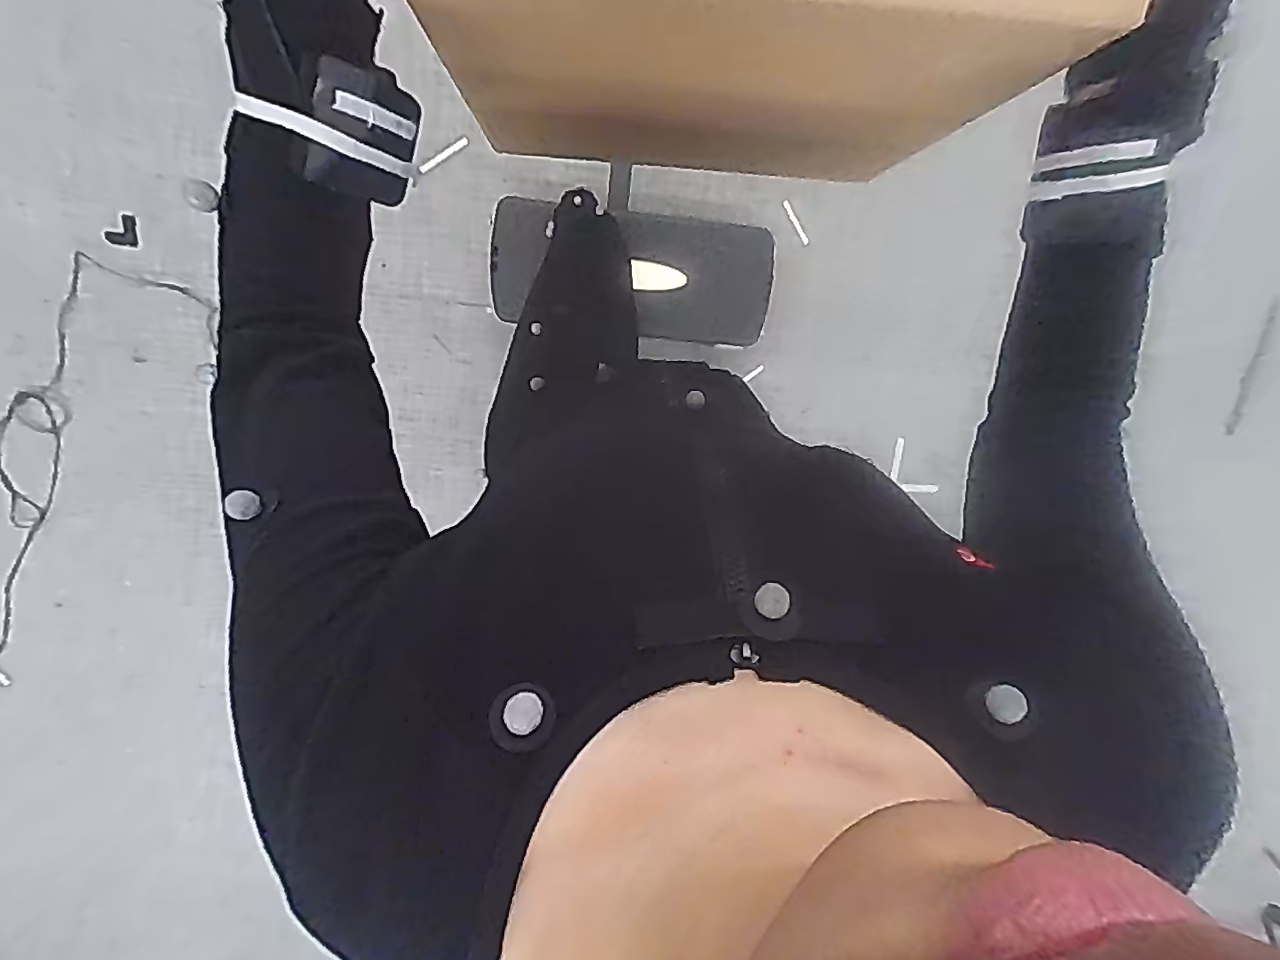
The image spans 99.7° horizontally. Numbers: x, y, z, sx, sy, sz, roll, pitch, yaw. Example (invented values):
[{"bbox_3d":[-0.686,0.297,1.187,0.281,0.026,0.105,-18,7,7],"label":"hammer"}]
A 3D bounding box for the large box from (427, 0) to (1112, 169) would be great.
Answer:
[{"bbox_3d":[0.062,-0.450,0.396,0.408,0.320,0.320,1,106,-6],"label":"large box"}]
